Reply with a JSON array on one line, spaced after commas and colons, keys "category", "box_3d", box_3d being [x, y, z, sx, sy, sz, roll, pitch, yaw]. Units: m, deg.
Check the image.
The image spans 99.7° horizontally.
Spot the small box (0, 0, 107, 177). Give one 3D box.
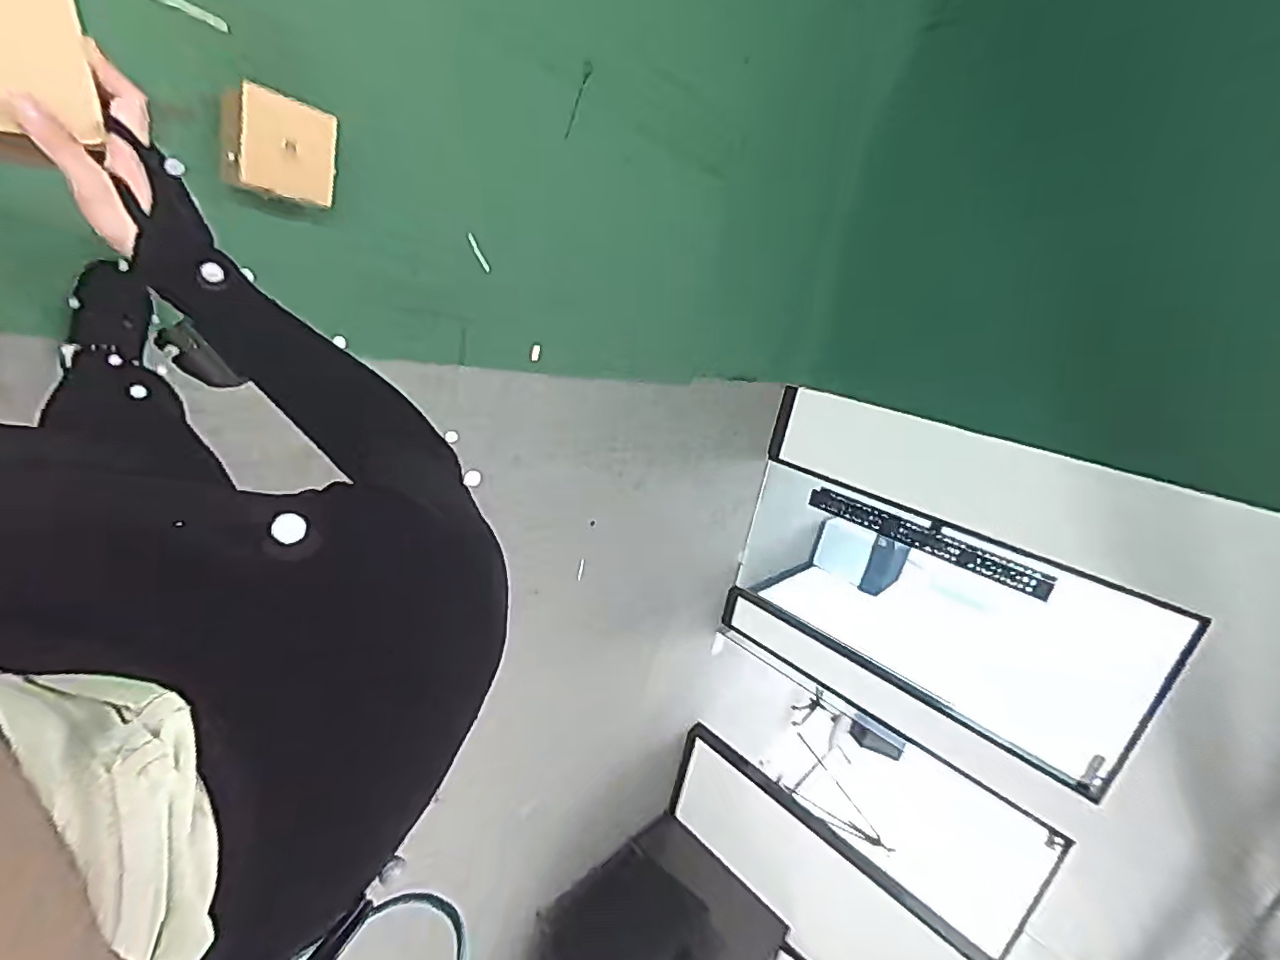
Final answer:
[{"category": "small box", "box_3d": [-0.514, -0.328, 0.373, 0.168, 0.176, 0.179, -19, 119, -46]}]

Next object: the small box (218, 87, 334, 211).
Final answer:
[{"category": "small box", "box_3d": [-0.772, -0.691, 1.144, 0.168, 0.176, 0.179, -5, 115, -48]}]
